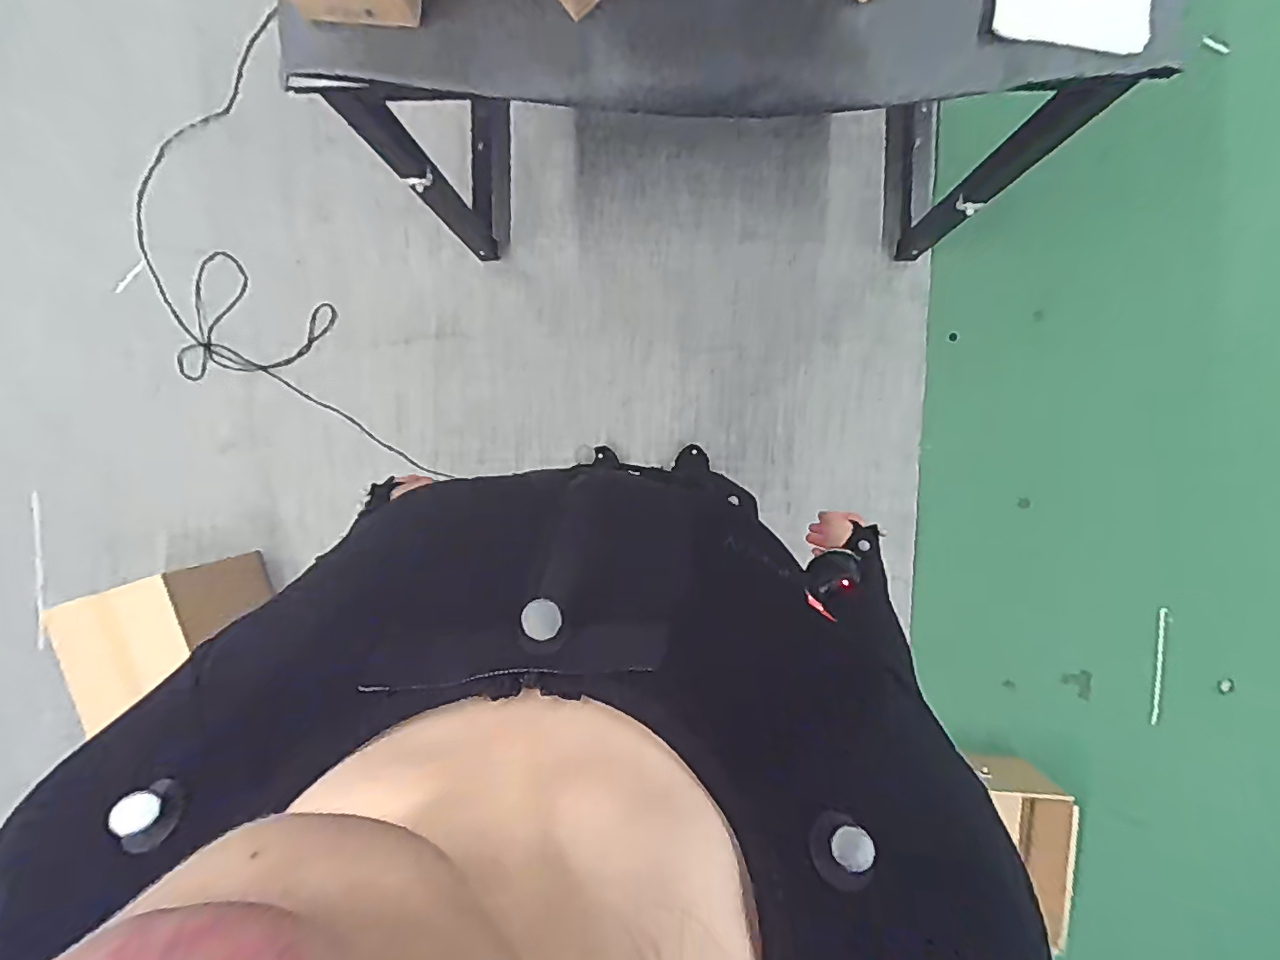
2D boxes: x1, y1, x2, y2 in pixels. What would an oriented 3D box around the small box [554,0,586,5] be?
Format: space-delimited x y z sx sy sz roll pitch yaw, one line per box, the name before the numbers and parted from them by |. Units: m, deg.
small box | -0.088 -0.736 0.651 0.168 0.176 0.179 -39 90 2
